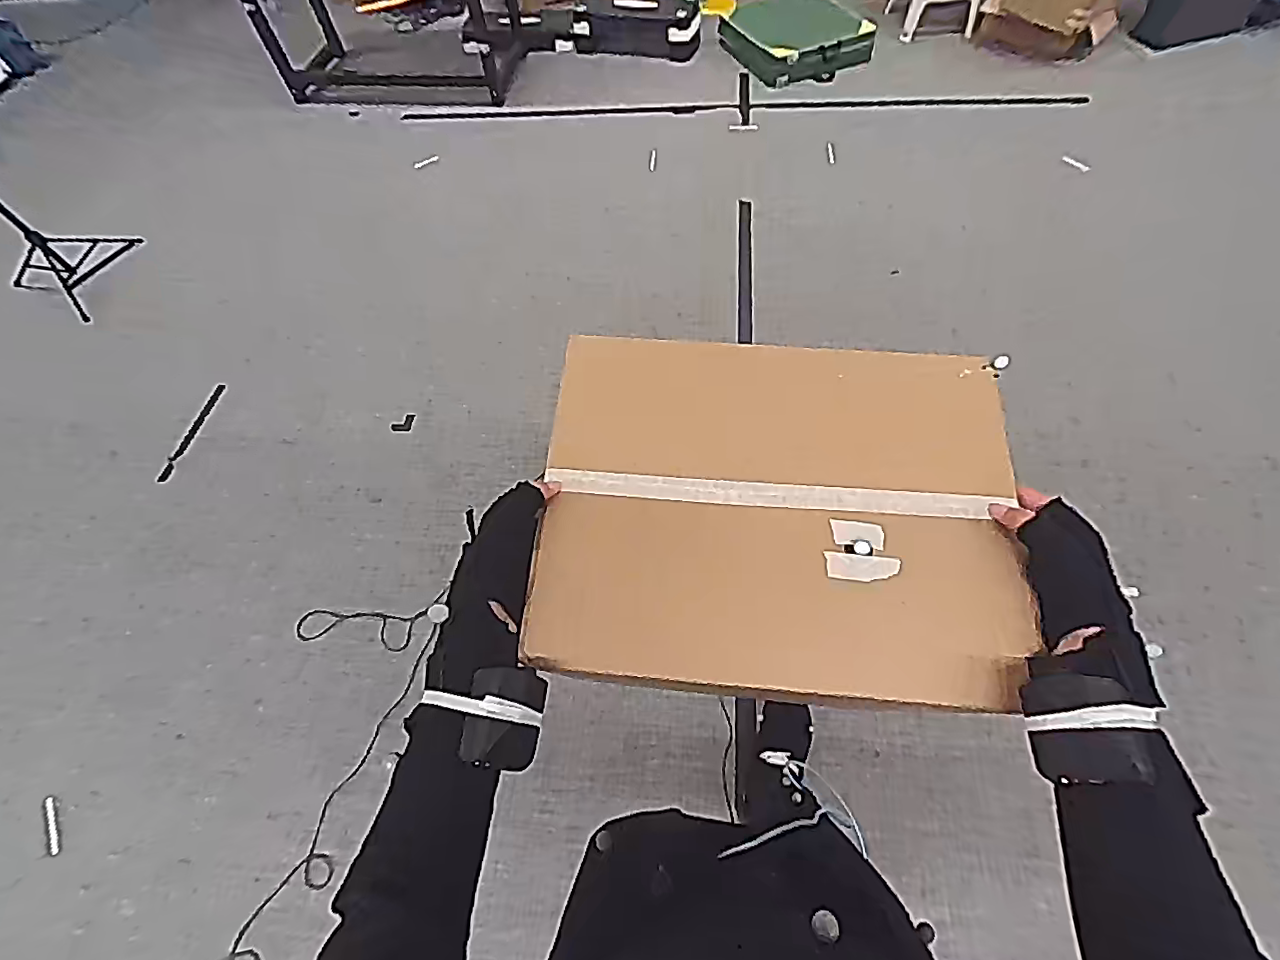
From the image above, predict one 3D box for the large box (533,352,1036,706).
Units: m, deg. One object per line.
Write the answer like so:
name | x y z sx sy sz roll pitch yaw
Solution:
large box | 0.121 0.079 0.617 0.408 0.320 0.320 4 69 3
